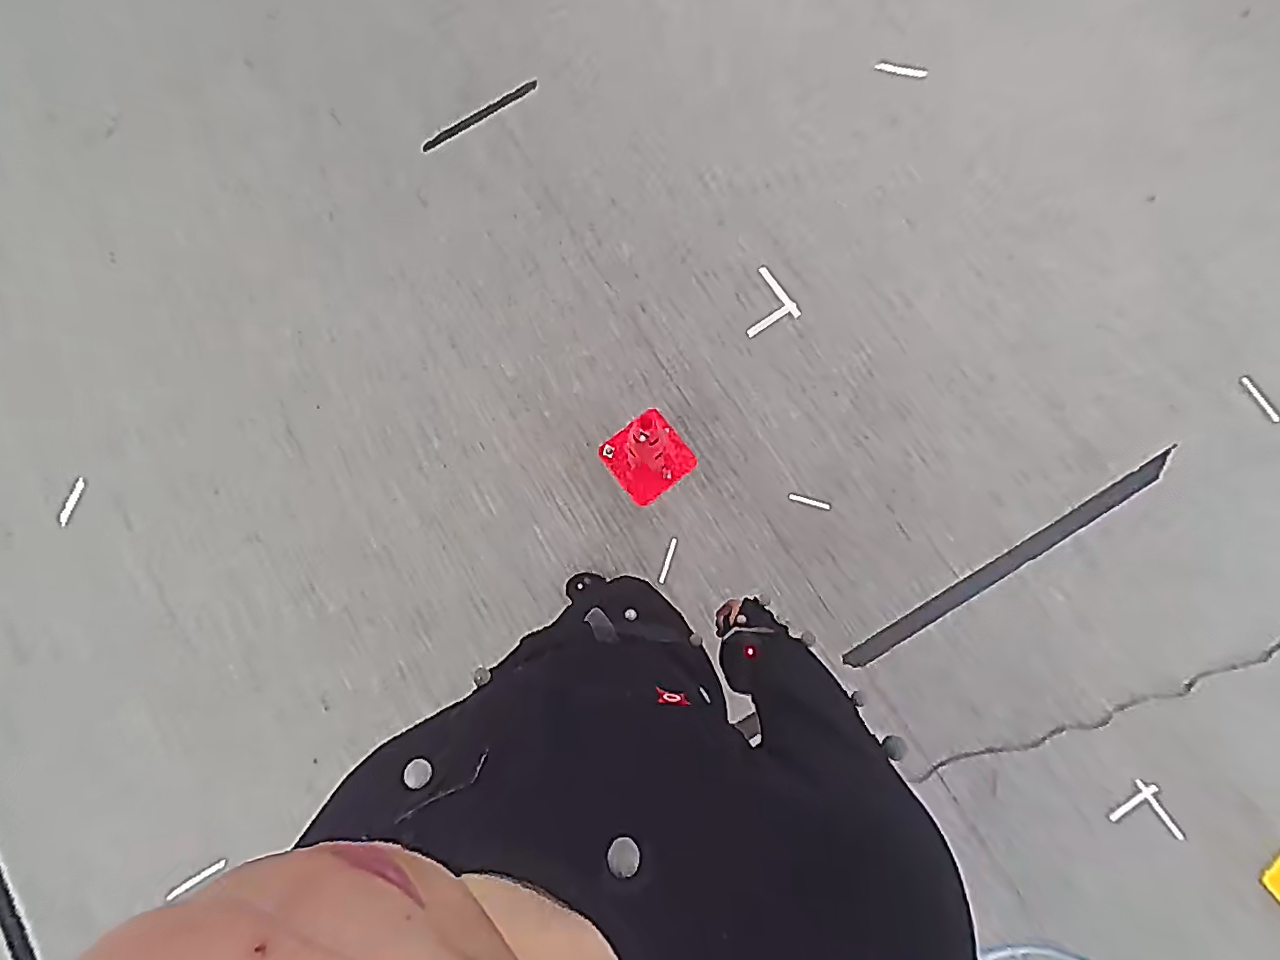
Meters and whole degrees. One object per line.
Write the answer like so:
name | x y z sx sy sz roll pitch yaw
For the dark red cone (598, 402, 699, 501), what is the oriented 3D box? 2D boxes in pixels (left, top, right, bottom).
dark red cone | 0.019 -0.096 1.213 0.202 0.394 0.201 -39 84 -5
